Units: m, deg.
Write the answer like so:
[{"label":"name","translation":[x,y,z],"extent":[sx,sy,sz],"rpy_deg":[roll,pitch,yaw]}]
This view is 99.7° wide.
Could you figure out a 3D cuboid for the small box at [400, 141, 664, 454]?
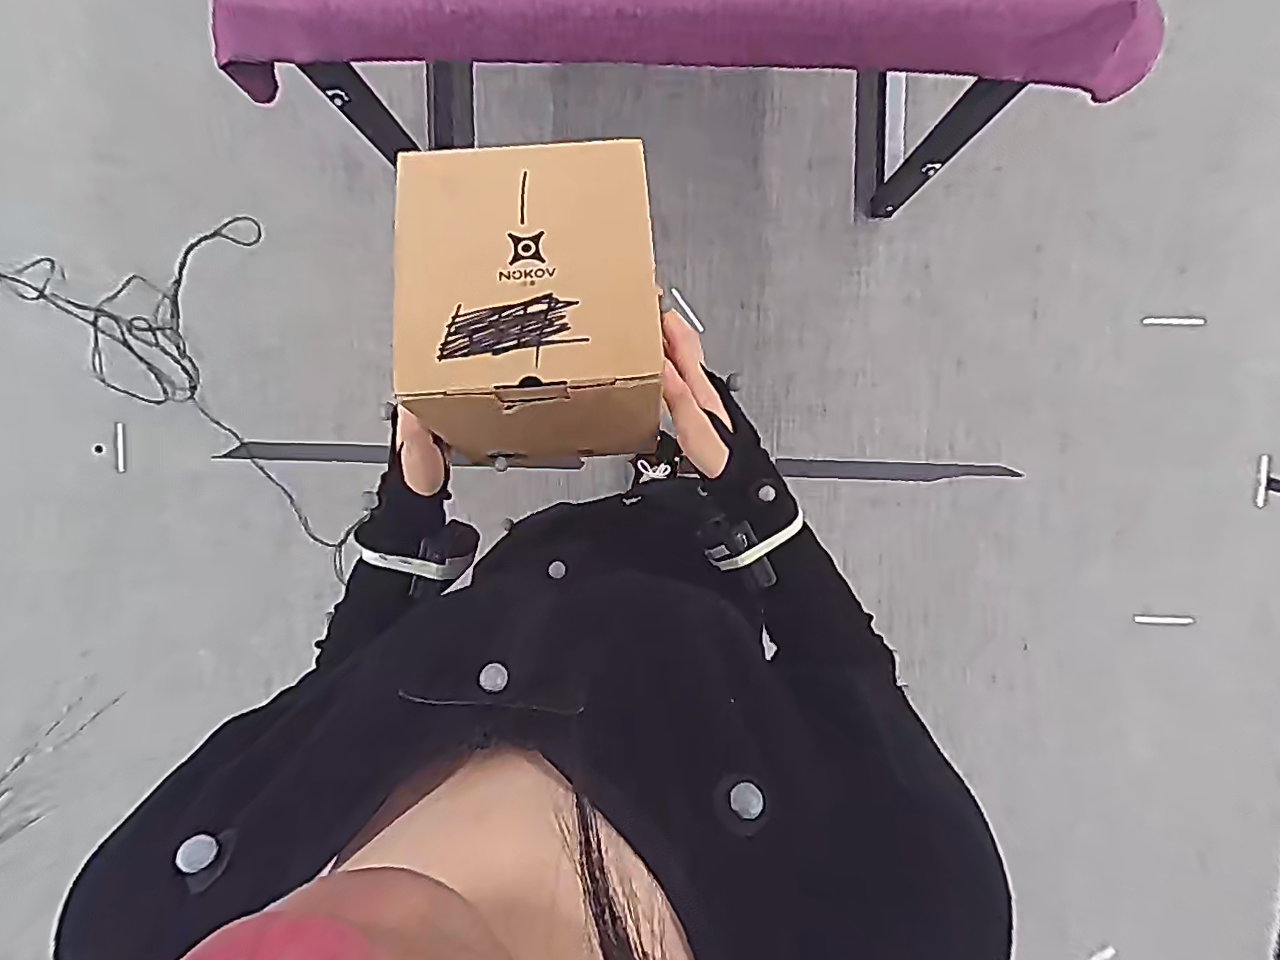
[{"label":"small box","translation":[-0.071,-0.123,0.425],"extent":[0.168,0.176,0.179],"rpy_deg":[-4,77,-2]}]
